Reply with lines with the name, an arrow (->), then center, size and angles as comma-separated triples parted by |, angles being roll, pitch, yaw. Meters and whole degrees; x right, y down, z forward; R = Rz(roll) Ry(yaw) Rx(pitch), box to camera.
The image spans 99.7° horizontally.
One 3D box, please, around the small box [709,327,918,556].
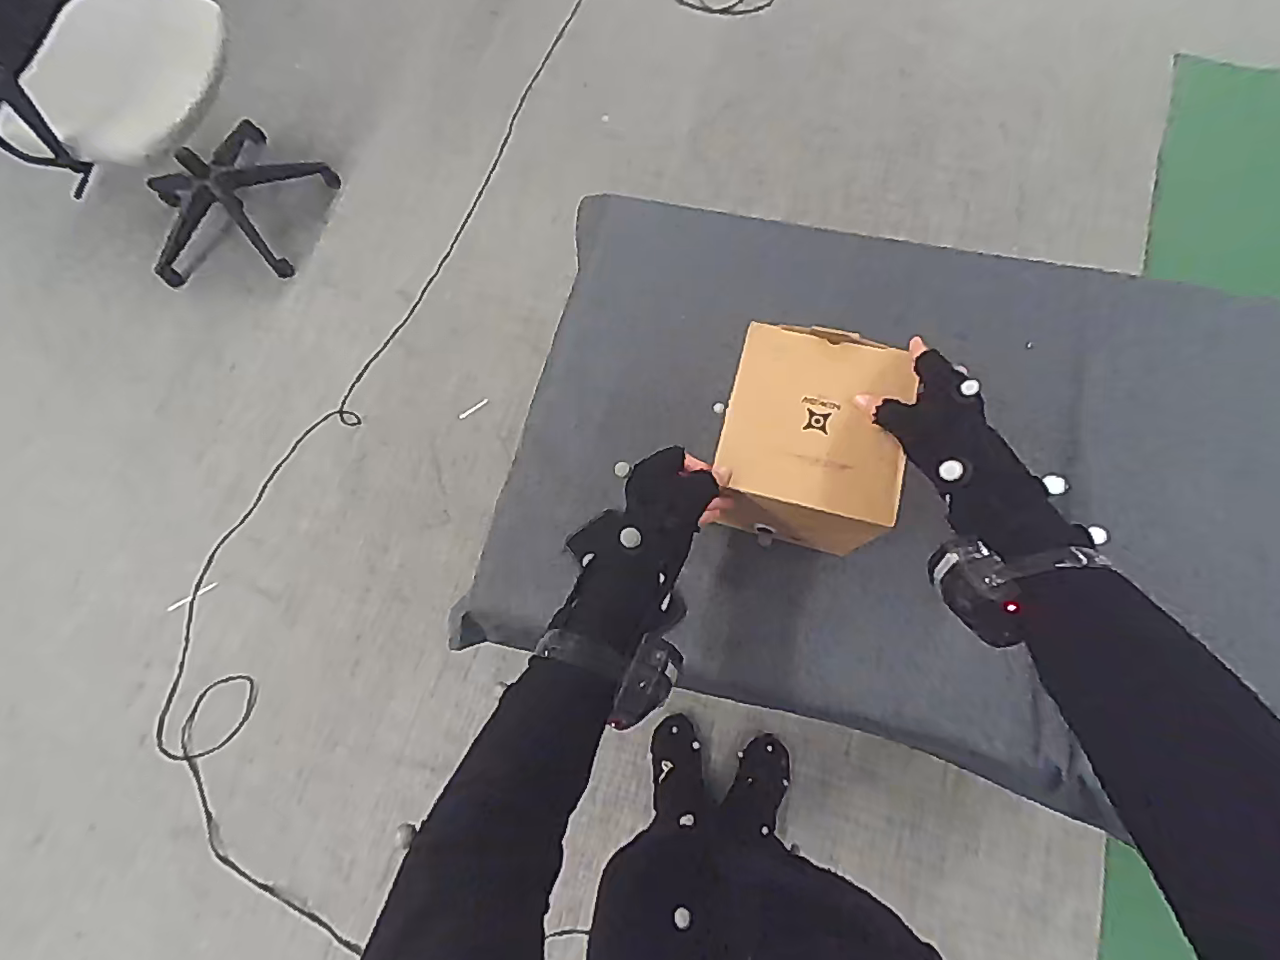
small box -> 0.171, -0.031, 0.578 | 0.168, 0.176, 0.179 | 13, 76, 10
